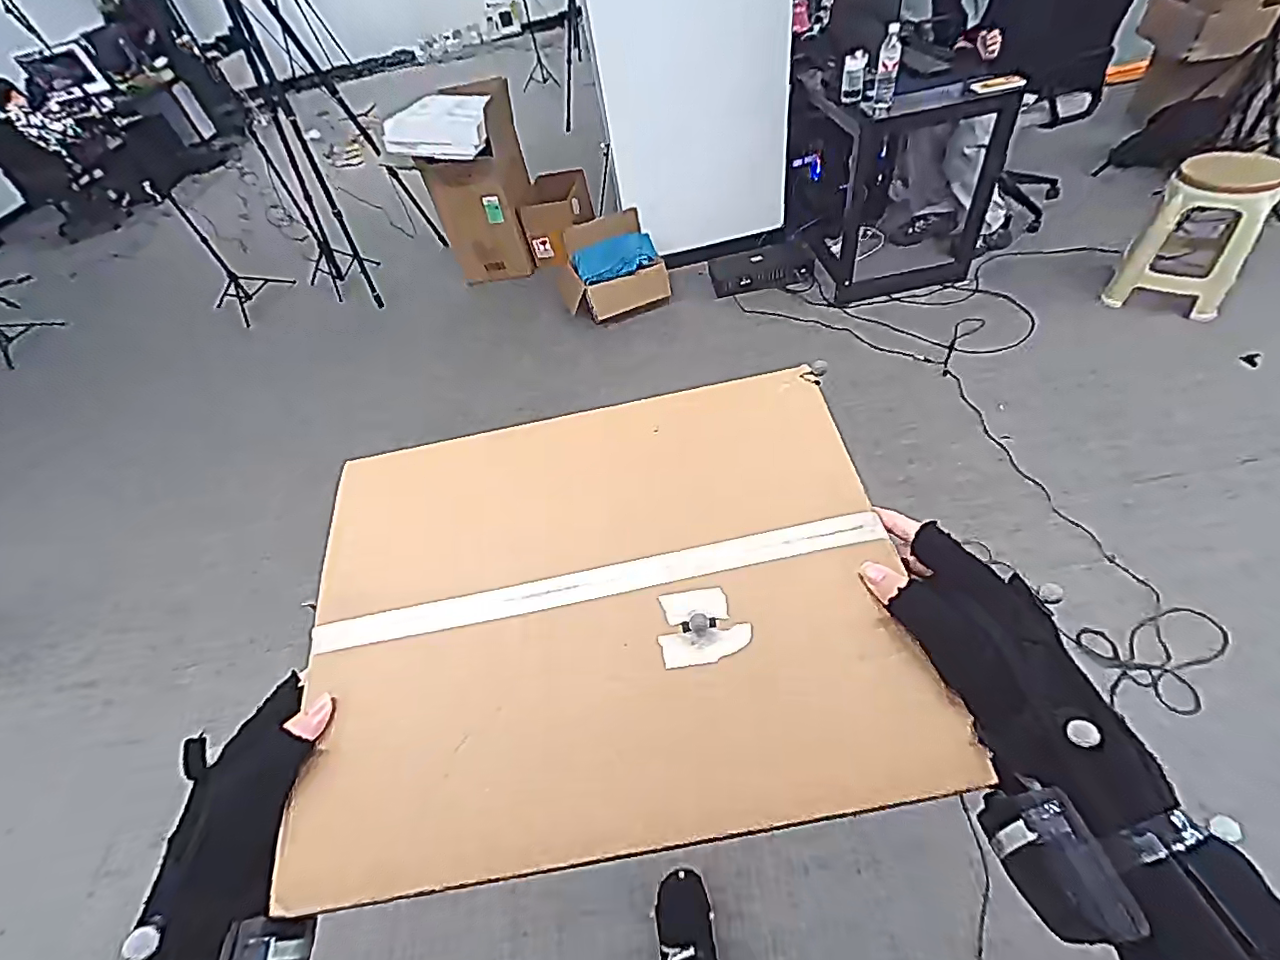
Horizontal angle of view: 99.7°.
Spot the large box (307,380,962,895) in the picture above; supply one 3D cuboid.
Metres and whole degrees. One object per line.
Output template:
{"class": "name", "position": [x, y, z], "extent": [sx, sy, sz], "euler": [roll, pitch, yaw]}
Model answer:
{"class": "large box", "position": [-0.011, 0.157, 0.520], "extent": [0.408, 0.320, 0.320], "euler": [-12, 58, 1]}
